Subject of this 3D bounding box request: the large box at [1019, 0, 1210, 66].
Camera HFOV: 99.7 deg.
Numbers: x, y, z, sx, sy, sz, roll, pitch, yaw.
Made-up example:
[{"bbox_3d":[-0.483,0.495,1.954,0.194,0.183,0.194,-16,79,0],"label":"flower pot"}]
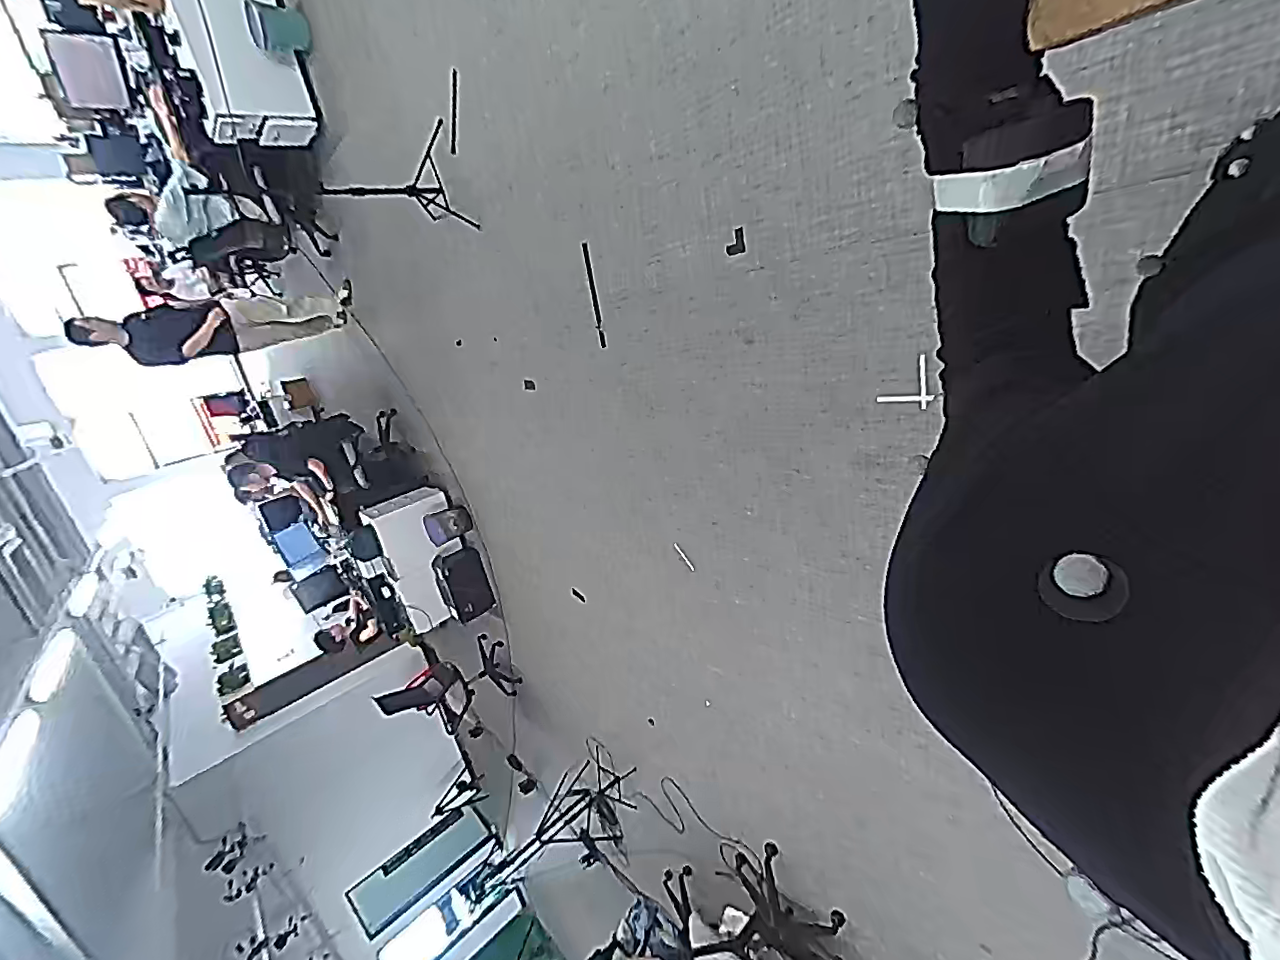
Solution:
[{"bbox_3d":[0.388,-0.414,0.161,0.408,0.320,0.320,9,127,49],"label":"large box"}]
